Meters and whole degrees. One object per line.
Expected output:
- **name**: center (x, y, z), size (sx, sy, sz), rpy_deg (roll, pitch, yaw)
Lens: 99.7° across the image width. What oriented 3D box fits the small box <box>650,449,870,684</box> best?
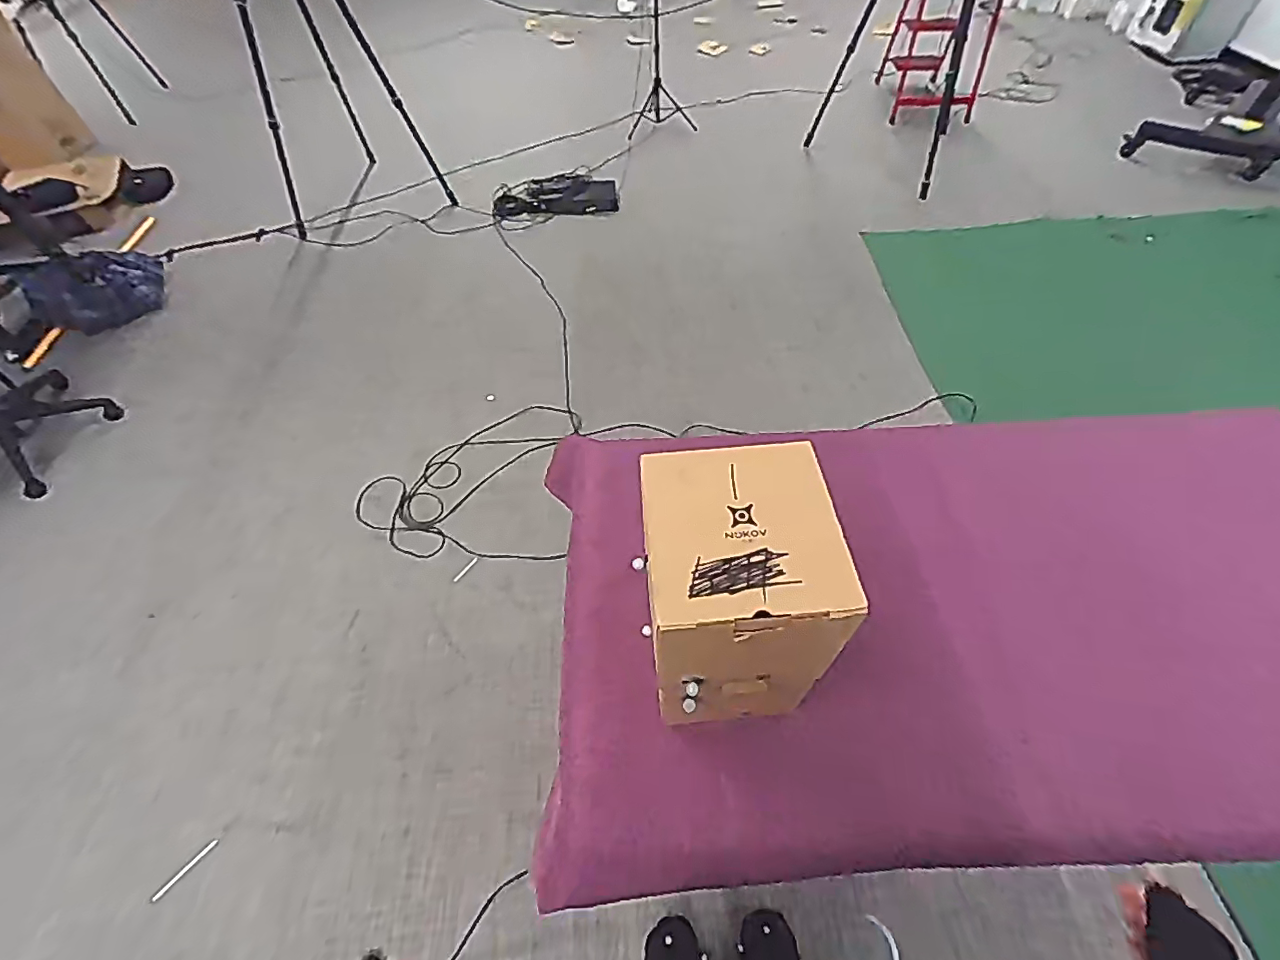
- **small box**: center (0.094, 0.090, 0.520), size (0.168, 0.176, 0.179), rpy_deg (-1, 54, 0)
